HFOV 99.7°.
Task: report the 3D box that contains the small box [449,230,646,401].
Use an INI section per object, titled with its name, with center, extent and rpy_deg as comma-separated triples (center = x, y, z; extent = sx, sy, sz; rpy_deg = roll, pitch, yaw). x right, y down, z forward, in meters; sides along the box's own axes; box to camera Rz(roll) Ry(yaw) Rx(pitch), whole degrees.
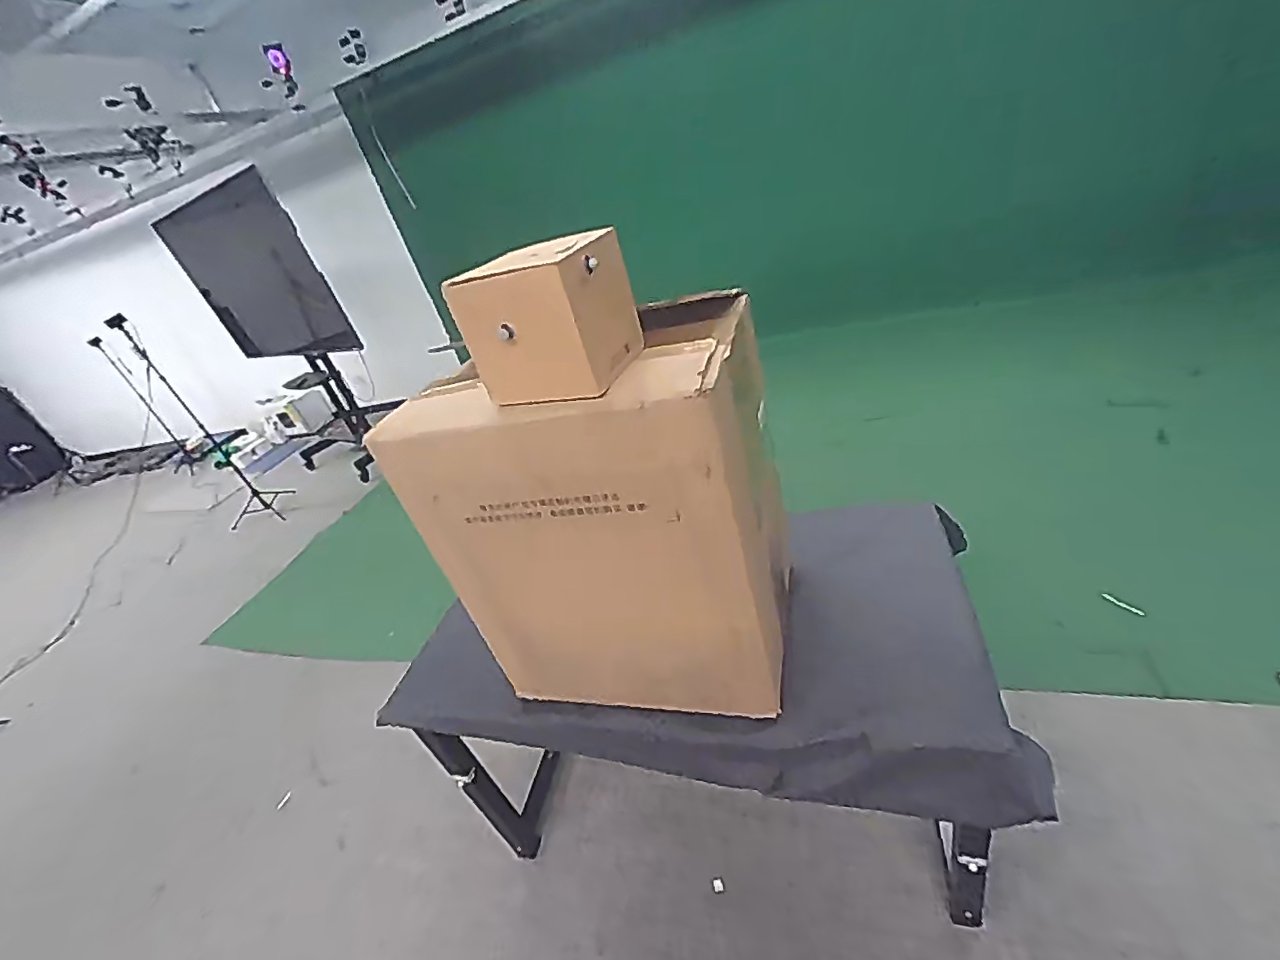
[small box]
center = -0.114, -0.217, 0.735
extent = 0.179, 0.176, 0.168
rpy_deg = 0, 35, 26
